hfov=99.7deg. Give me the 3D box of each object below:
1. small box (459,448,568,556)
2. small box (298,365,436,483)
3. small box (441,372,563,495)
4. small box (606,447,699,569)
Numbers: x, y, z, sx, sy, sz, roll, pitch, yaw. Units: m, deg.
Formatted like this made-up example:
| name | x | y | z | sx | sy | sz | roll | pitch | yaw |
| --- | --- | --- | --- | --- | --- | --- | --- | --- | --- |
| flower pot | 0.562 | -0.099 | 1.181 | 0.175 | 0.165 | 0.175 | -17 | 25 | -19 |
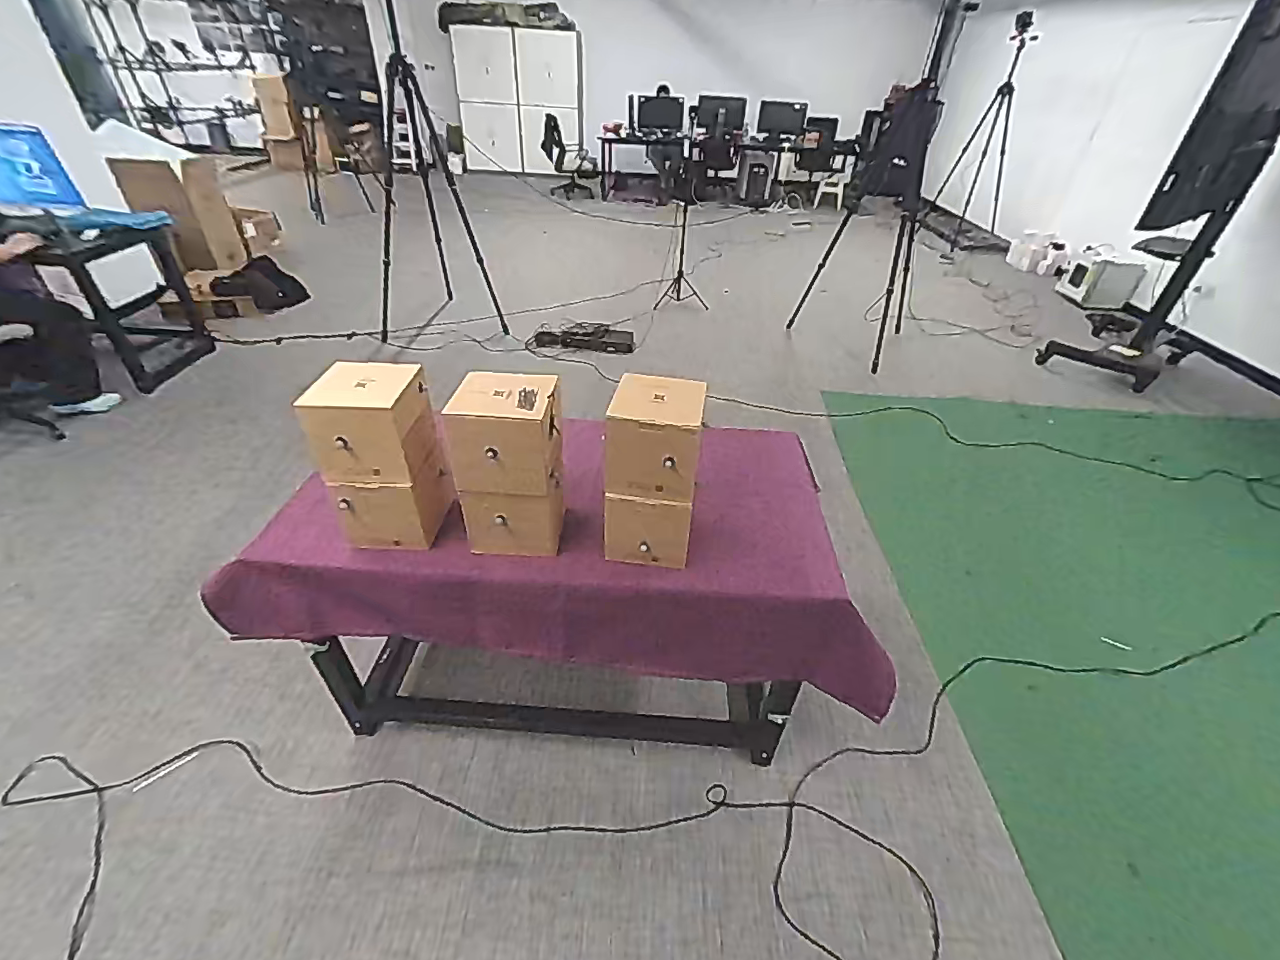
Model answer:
| name | x | y | z | sx | sy | sz | roll | pitch | yaw |
| --- | --- | --- | --- | --- | --- | --- | --- | --- | --- |
| small box | -0.251 | 0.041 | 1.120 | 0.179 | 0.176 | 0.168 | 3 | 38 | 1 |
| small box | -0.504 | -0.107 | 1.033 | 0.168 | 0.176 | 0.179 | 1 | 36 | -2 |
| small box | -0.245 | -0.087 | 1.016 | 0.179 | 0.176 | 0.168 | 3 | 37 | 3 |
| small box | 0.026 | 0.055 | 1.113 | 0.168 | 0.176 | 0.179 | 6 | 37 | 6 |
